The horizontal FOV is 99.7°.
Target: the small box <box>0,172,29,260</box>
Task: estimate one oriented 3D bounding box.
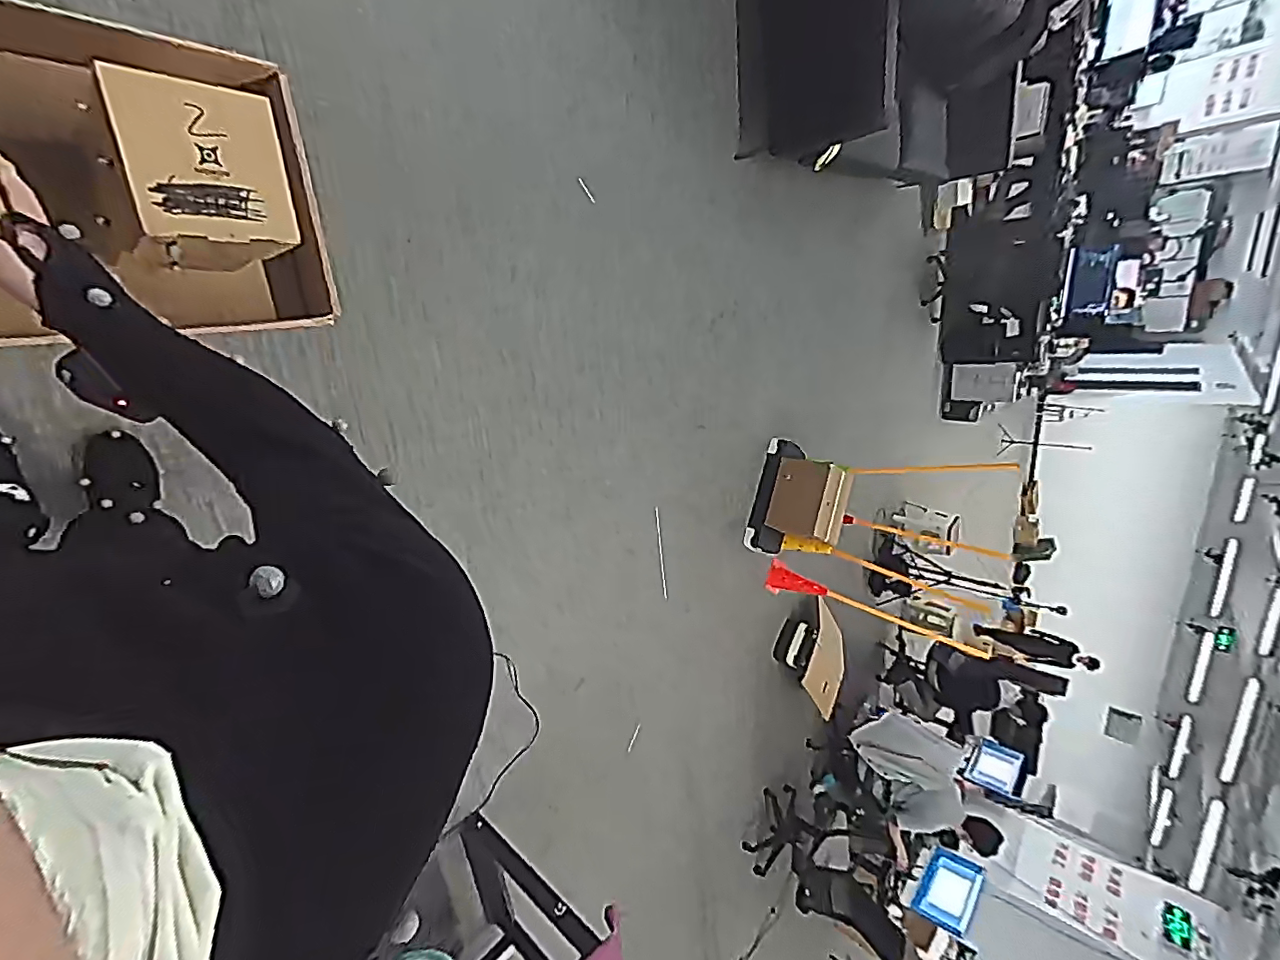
[{"bbox_3d":[-0.677,-0.277,0.456,0.179,0.176,0.168,-25,117,-42],"label":"small box"}]
